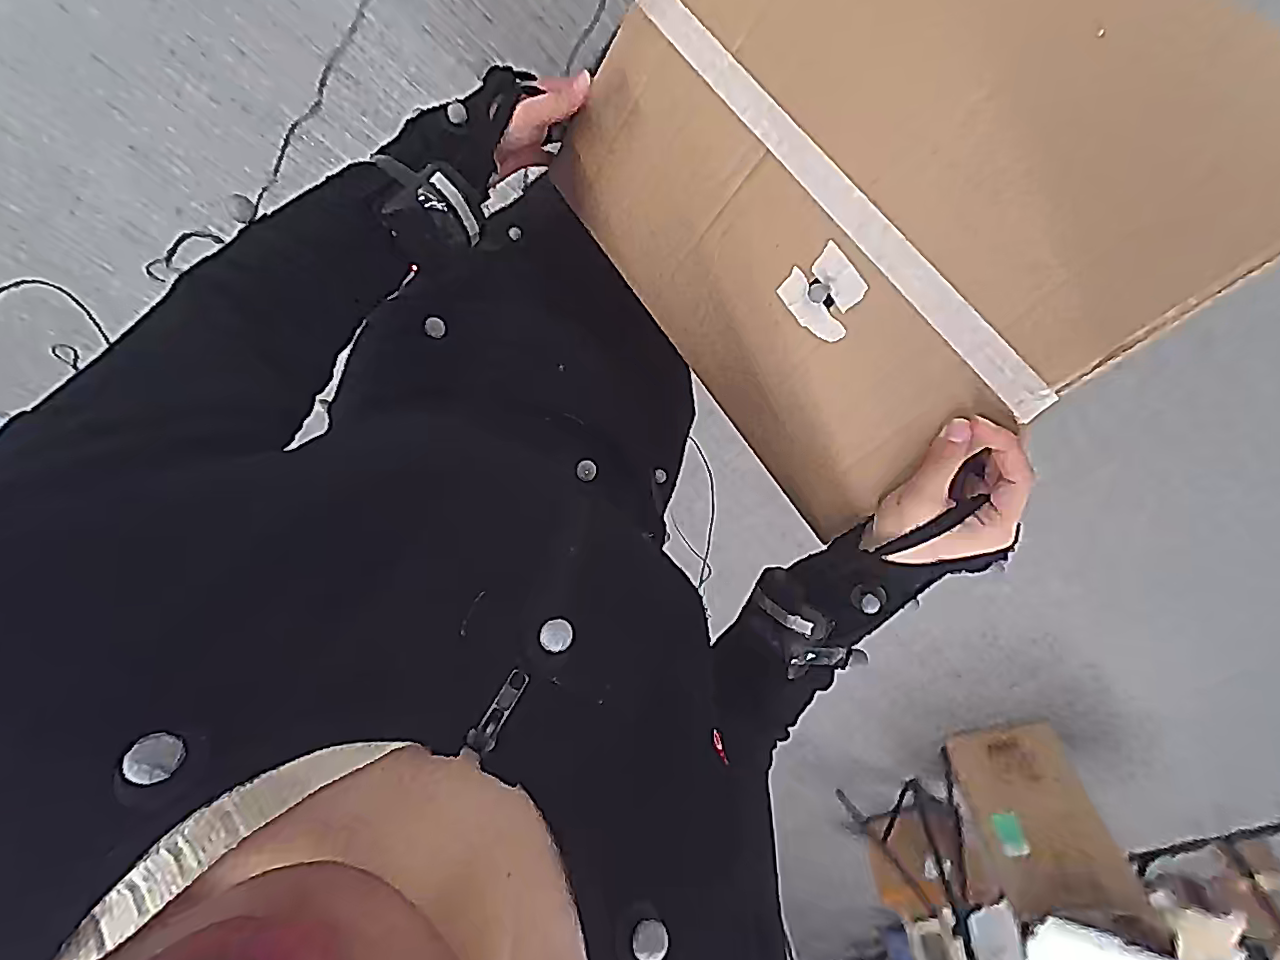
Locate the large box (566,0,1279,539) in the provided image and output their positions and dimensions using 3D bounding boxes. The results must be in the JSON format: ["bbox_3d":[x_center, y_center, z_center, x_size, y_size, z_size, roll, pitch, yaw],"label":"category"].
[{"bbox_3d":[0.216,-0.224,0.482,0.320,0.320,0.408,-44,74,36],"label":"large box"}]
